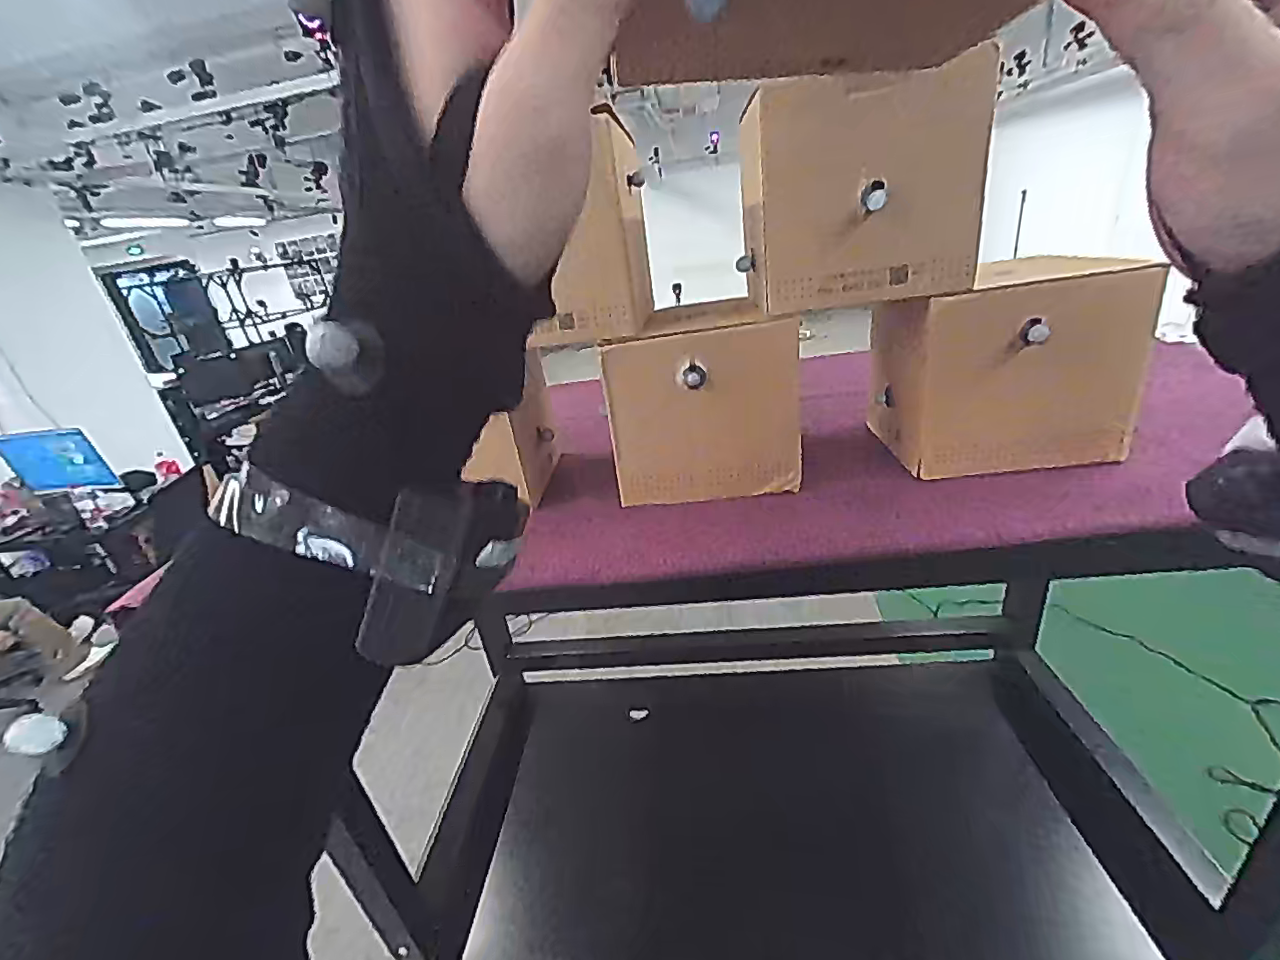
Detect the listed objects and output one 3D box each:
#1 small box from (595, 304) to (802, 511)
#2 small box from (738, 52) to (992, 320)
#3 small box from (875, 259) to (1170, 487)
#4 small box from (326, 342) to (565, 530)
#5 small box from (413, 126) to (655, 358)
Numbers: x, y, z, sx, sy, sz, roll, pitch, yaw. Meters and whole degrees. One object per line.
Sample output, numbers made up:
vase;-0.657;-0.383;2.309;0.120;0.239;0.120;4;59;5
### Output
small box;0.065;-0.077;0.563;0.179;0.176;0.168;-5;25;8
small box;0.183;-0.243;0.486;0.168;0.176;0.179;-6;25;8
small box;0.340;-0.107;0.526;0.179;0.176;0.168;-7;24;9
small box;-0.199;-0.055;0.608;0.179;0.176;0.168;-7;25;7
small box;-0.082;-0.219;0.526;0.168;0.176;0.179;-4;24;10
